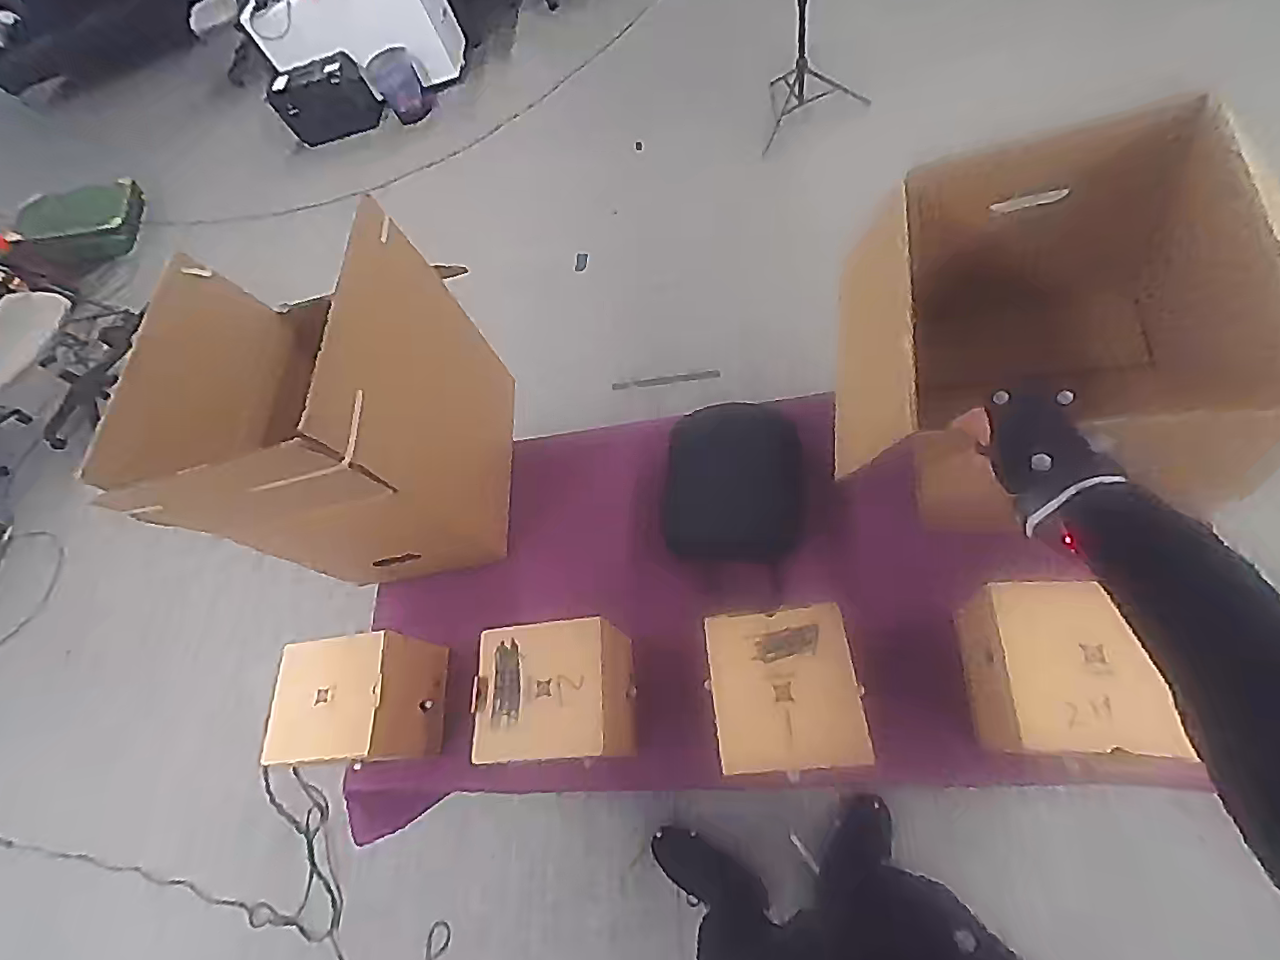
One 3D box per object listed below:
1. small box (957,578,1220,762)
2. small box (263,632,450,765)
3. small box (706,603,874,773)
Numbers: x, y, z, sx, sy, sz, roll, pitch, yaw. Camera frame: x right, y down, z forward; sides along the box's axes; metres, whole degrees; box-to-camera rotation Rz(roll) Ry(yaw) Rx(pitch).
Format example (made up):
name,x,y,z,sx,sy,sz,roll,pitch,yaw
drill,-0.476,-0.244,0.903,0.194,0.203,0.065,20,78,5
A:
name,x,y,z,sx,sy,sz,roll,pitch,yaw
small box,0.488,0.222,0.627,0.168,0.176,0.179,-3,64,16
small box,-0.423,0.343,0.836,0.179,0.176,0.168,-11,62,10
small box,0.184,0.271,0.693,0.168,0.176,0.179,-10,63,12
